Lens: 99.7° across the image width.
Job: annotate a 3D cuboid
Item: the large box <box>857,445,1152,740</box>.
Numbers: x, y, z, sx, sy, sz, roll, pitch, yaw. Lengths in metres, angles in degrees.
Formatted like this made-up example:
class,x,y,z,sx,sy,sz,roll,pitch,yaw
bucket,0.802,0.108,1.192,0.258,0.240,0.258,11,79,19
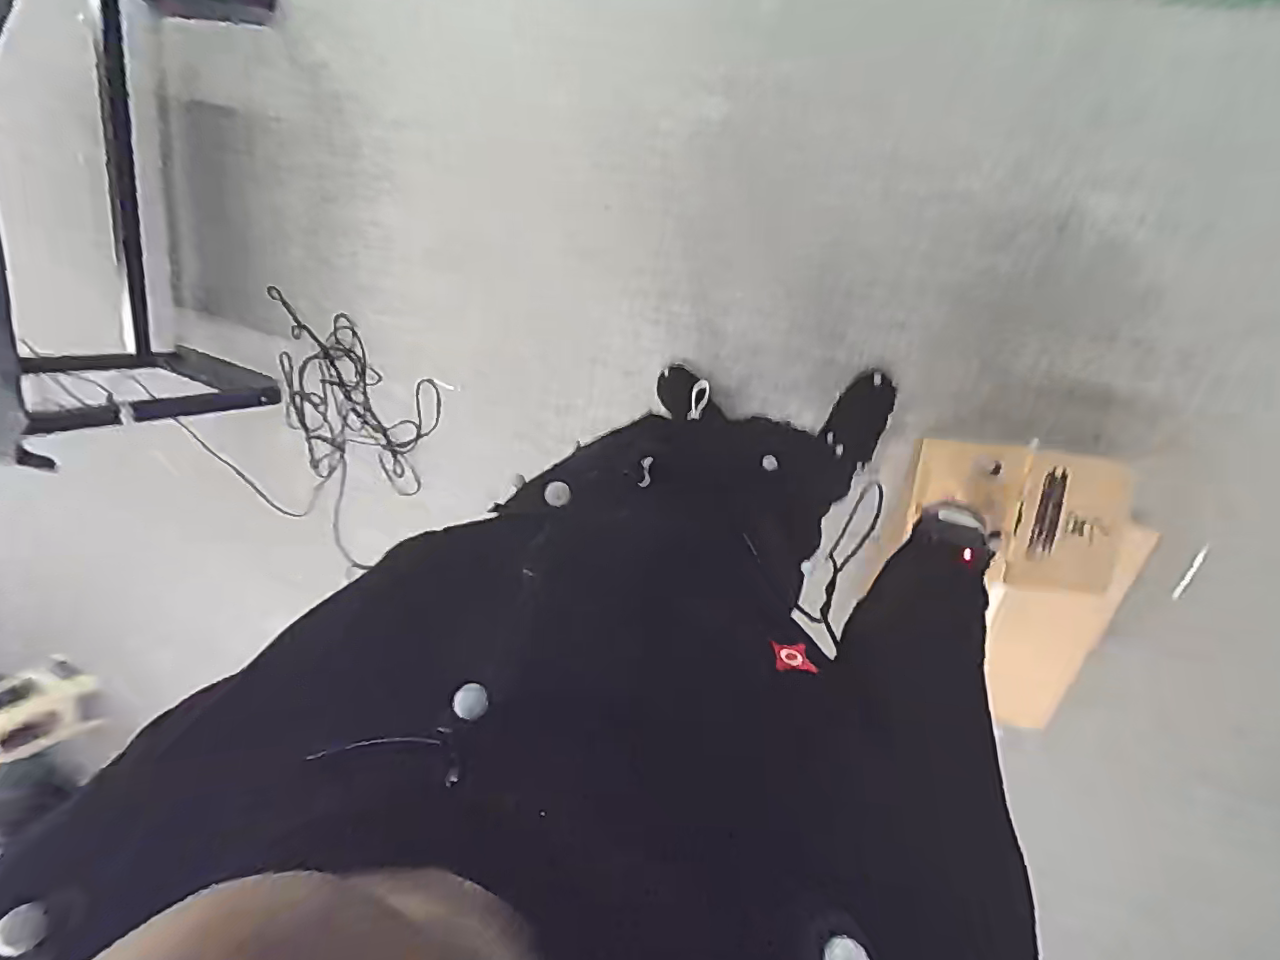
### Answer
class,x,y,z,sx,sy,sz,roll,pitch,yaw
large box,0.637,0.184,1.038,0.320,0.320,0.408,19,111,18
